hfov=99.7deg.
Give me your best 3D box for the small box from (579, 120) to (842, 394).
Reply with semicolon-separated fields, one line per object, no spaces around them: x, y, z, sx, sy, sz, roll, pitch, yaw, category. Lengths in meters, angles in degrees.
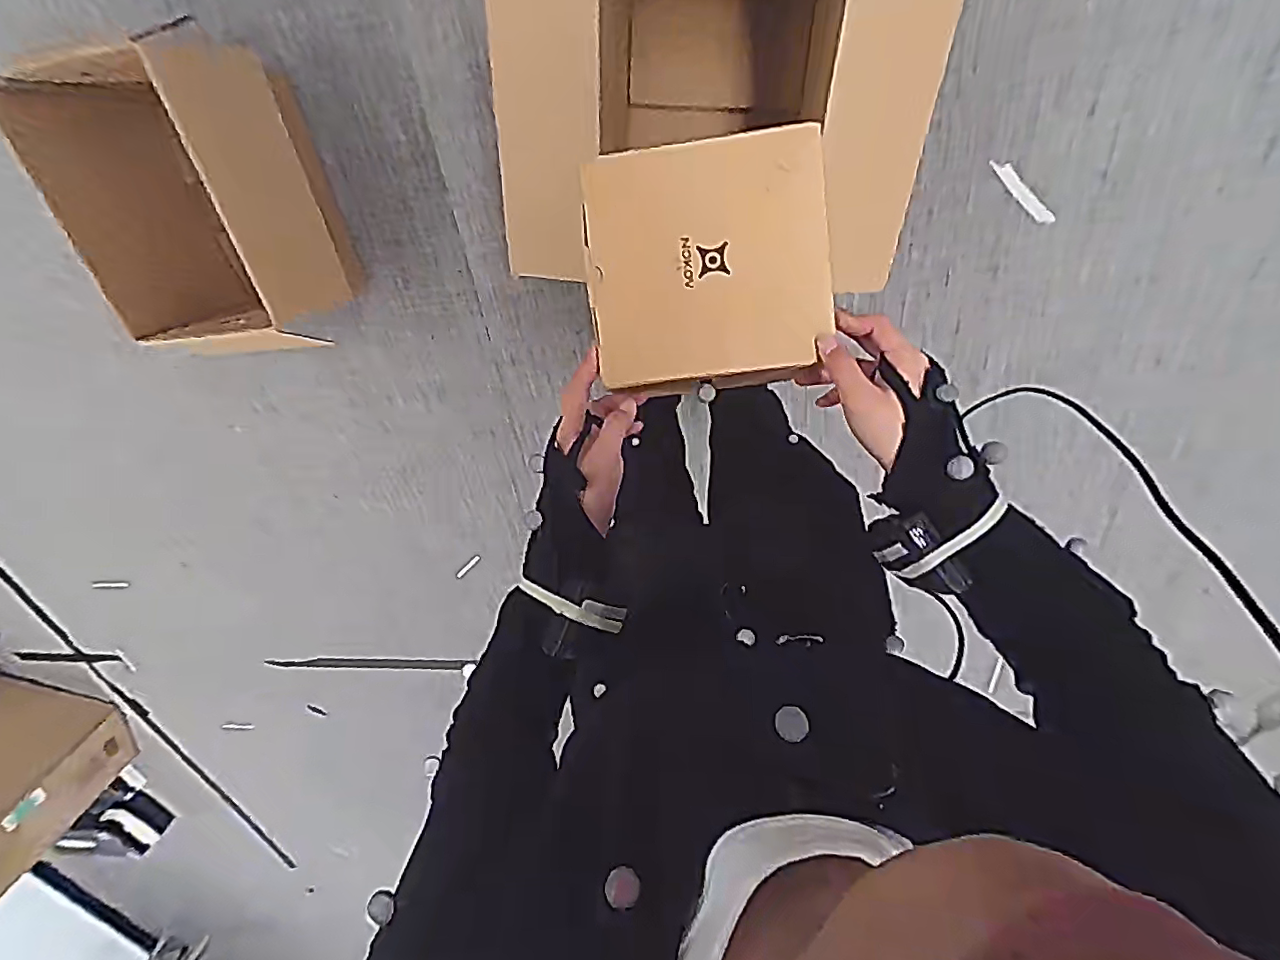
0.057;-0.166;0.462;0.179;0.176;0.168;-6;96;7;small box
